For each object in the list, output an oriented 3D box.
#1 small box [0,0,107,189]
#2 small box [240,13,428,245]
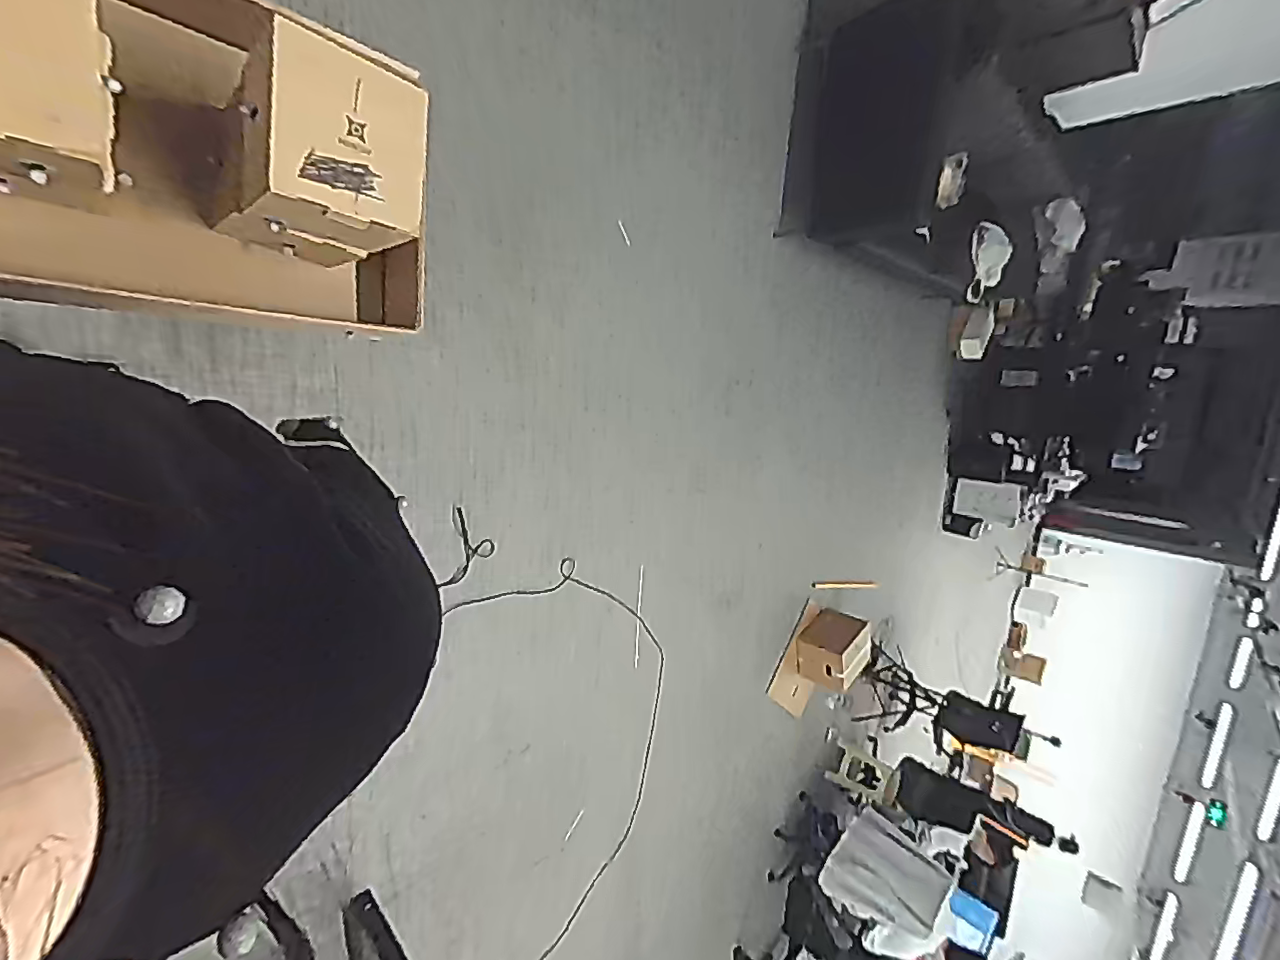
[{"bbox_3d":[-0.591,-0.384,0.479,0.168,0.176,0.179,-4,103,-46],"label":"small box"},{"bbox_3d":[-0.388,-0.414,0.682,0.168,0.176,0.179,-1,100,-46],"label":"small box"}]
